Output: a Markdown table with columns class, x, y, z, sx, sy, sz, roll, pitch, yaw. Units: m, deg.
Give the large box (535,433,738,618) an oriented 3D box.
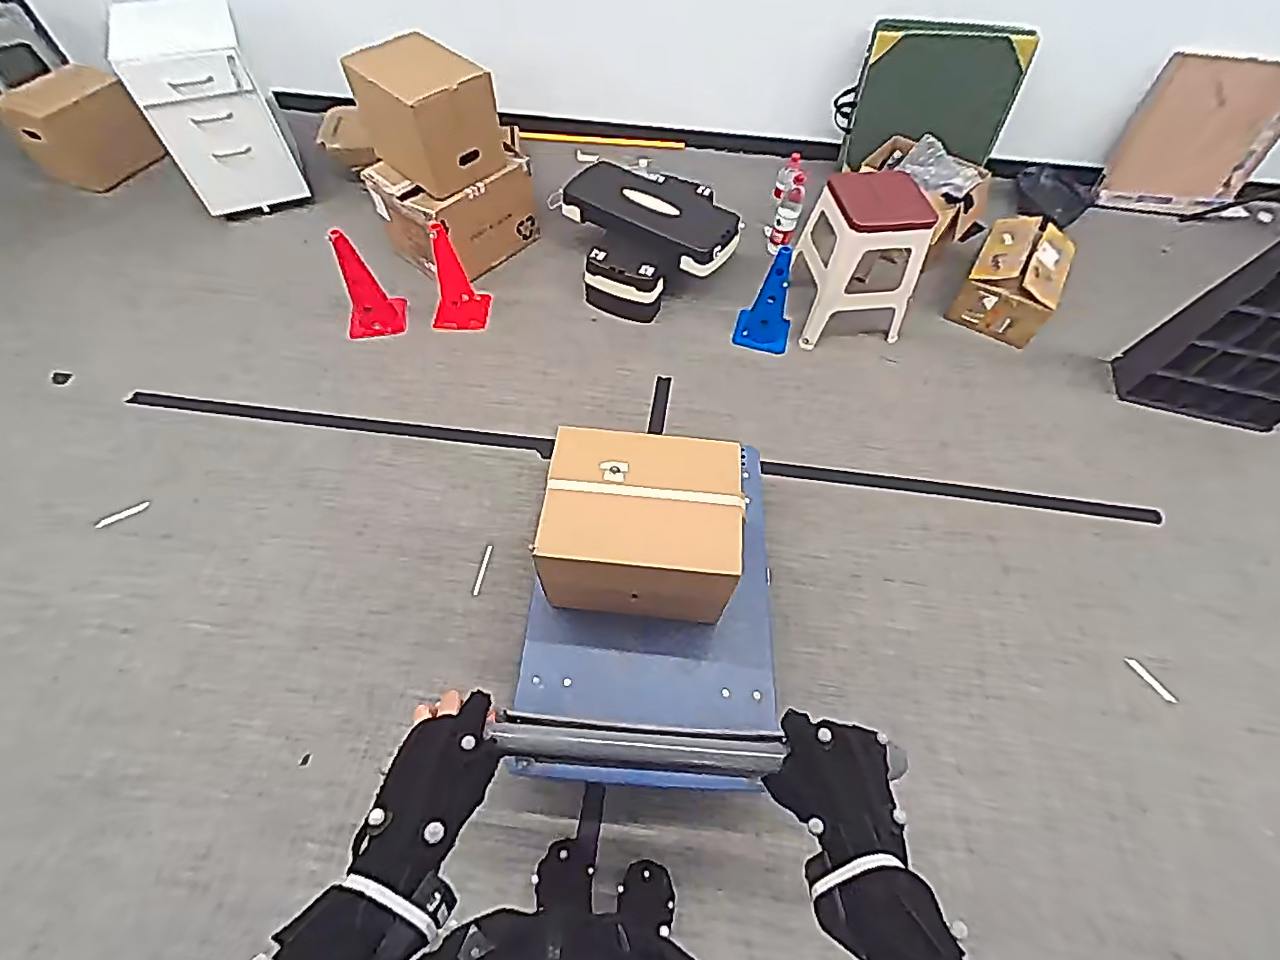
| class | x | y | z | sx | sy | sz | roll | pitch | yaw |
| --- | --- | --- | --- | --- | --- | --- | --- | --- | --- |
| large box | 0.003 | 0.116 | 1.252 | 0.408 | 0.320 | 0.320 | 5 | 59 | 2 |
